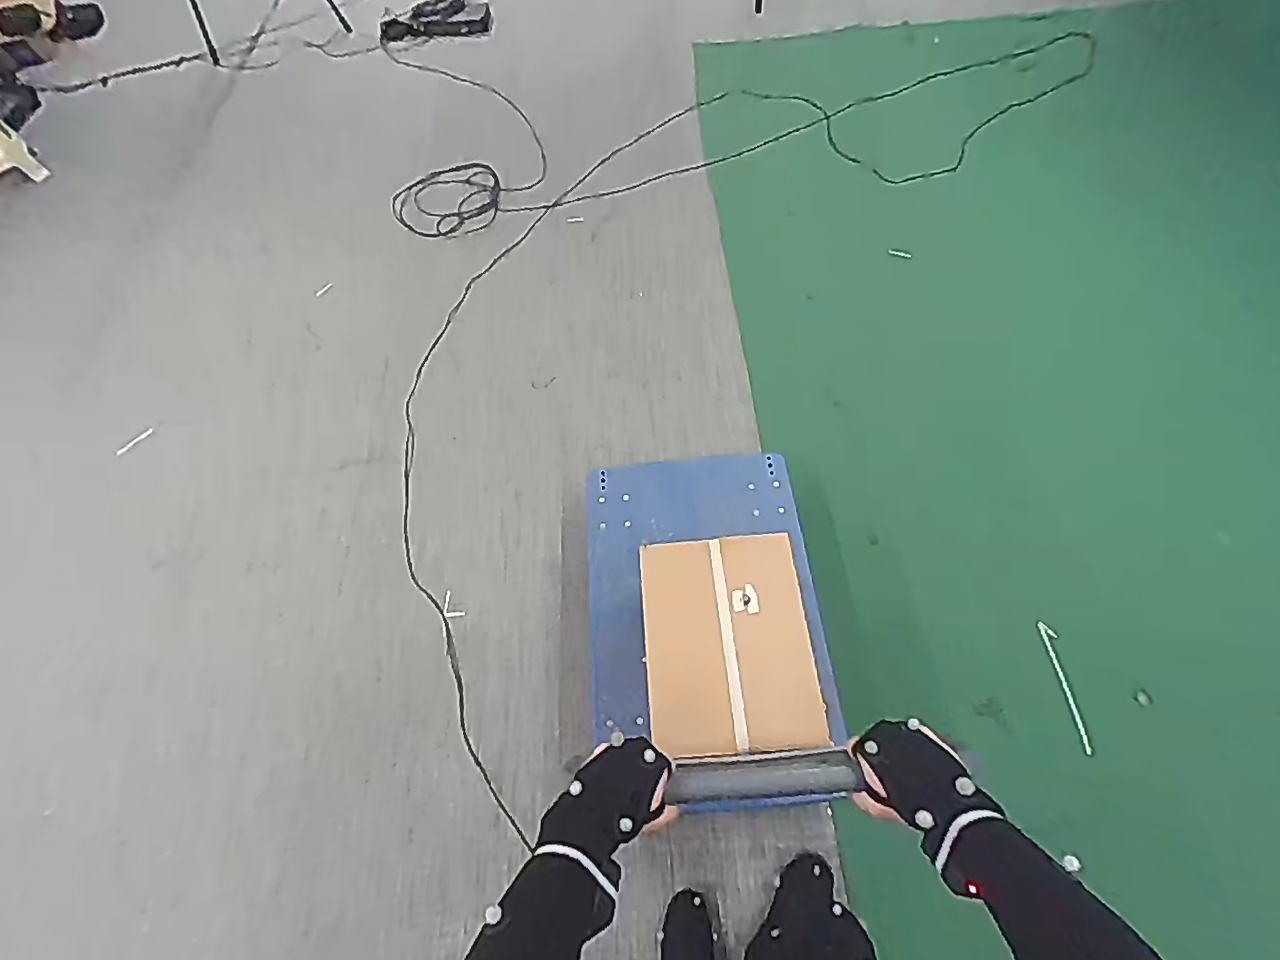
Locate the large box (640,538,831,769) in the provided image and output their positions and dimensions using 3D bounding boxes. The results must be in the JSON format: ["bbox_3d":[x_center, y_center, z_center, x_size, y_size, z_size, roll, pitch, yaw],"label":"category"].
[{"bbox_3d":[0.179,0.381,1.168,0.320,0.320,0.408,-5,60,1],"label":"large box"}]
